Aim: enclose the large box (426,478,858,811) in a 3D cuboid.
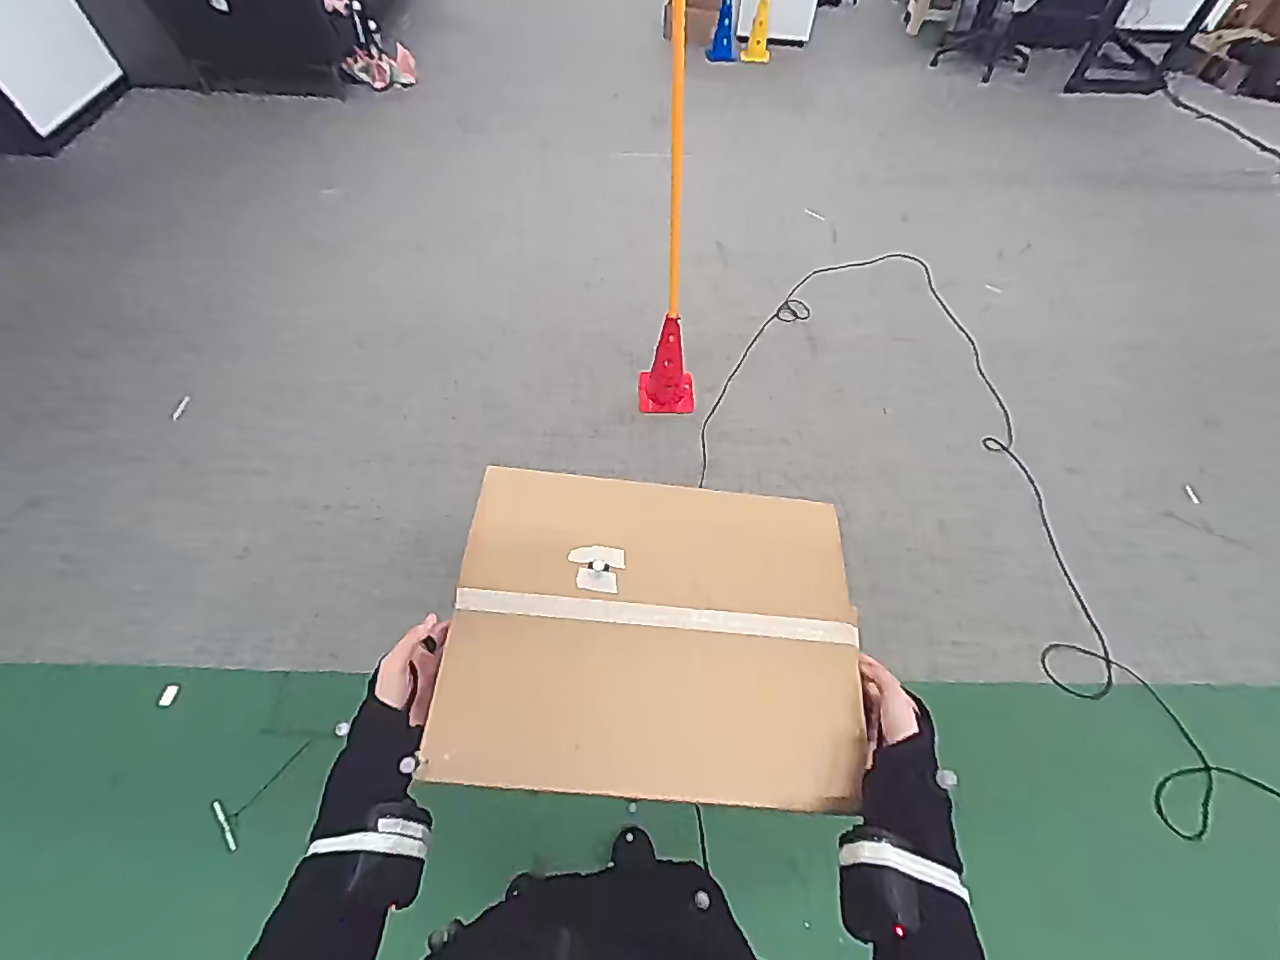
[{"bbox_3d":[0.004,0.219,0.690,0.408,0.320,0.320,7,61,-2],"label":"large box"}]
